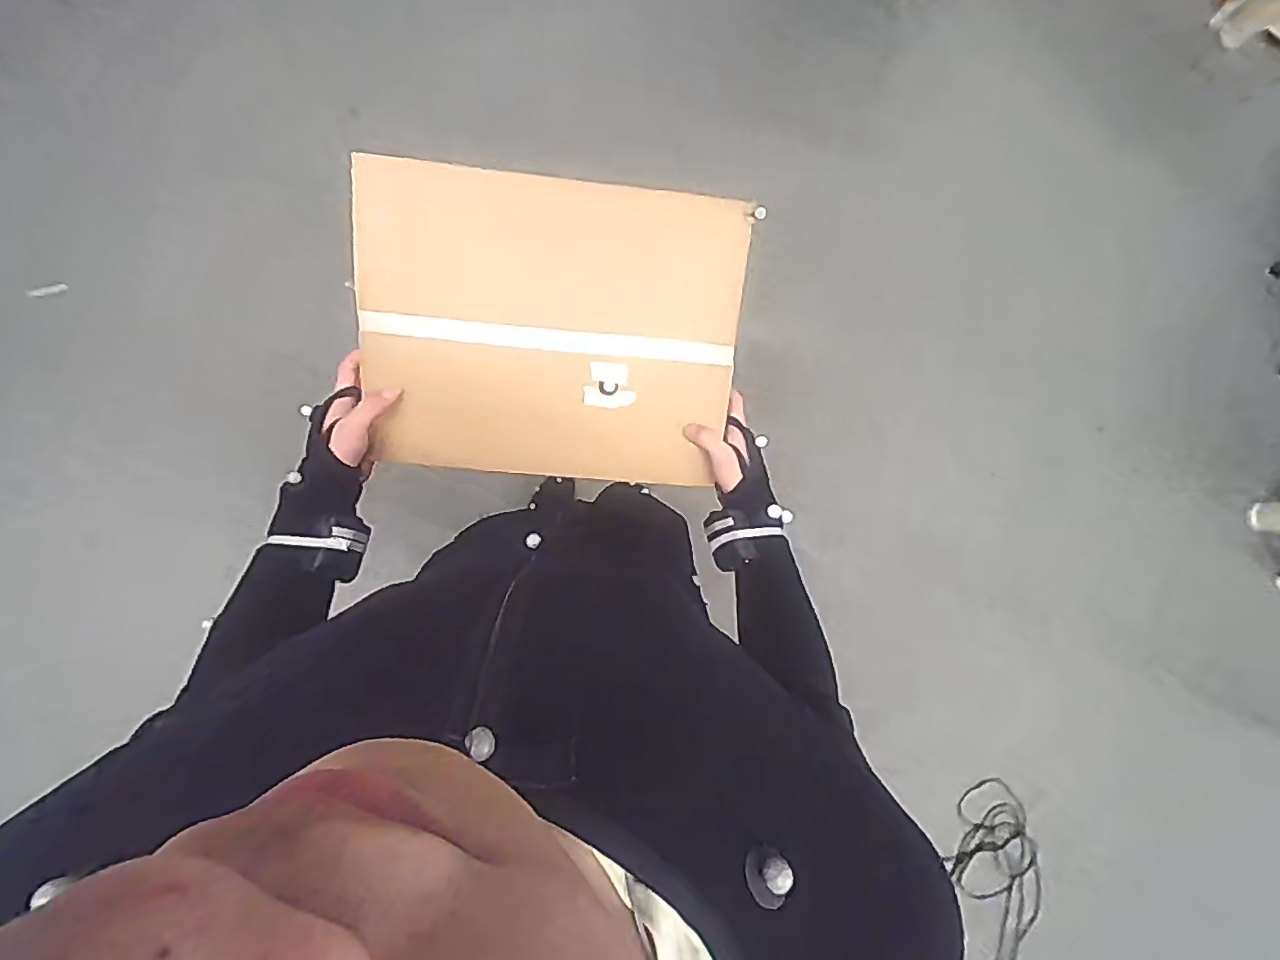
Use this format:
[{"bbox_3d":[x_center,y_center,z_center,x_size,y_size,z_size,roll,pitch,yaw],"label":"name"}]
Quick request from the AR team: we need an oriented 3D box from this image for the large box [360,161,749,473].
[{"bbox_3d":[-0.105,-0.205,0.737,0.408,0.320,0.320,3,108,-6],"label":"large box"}]
